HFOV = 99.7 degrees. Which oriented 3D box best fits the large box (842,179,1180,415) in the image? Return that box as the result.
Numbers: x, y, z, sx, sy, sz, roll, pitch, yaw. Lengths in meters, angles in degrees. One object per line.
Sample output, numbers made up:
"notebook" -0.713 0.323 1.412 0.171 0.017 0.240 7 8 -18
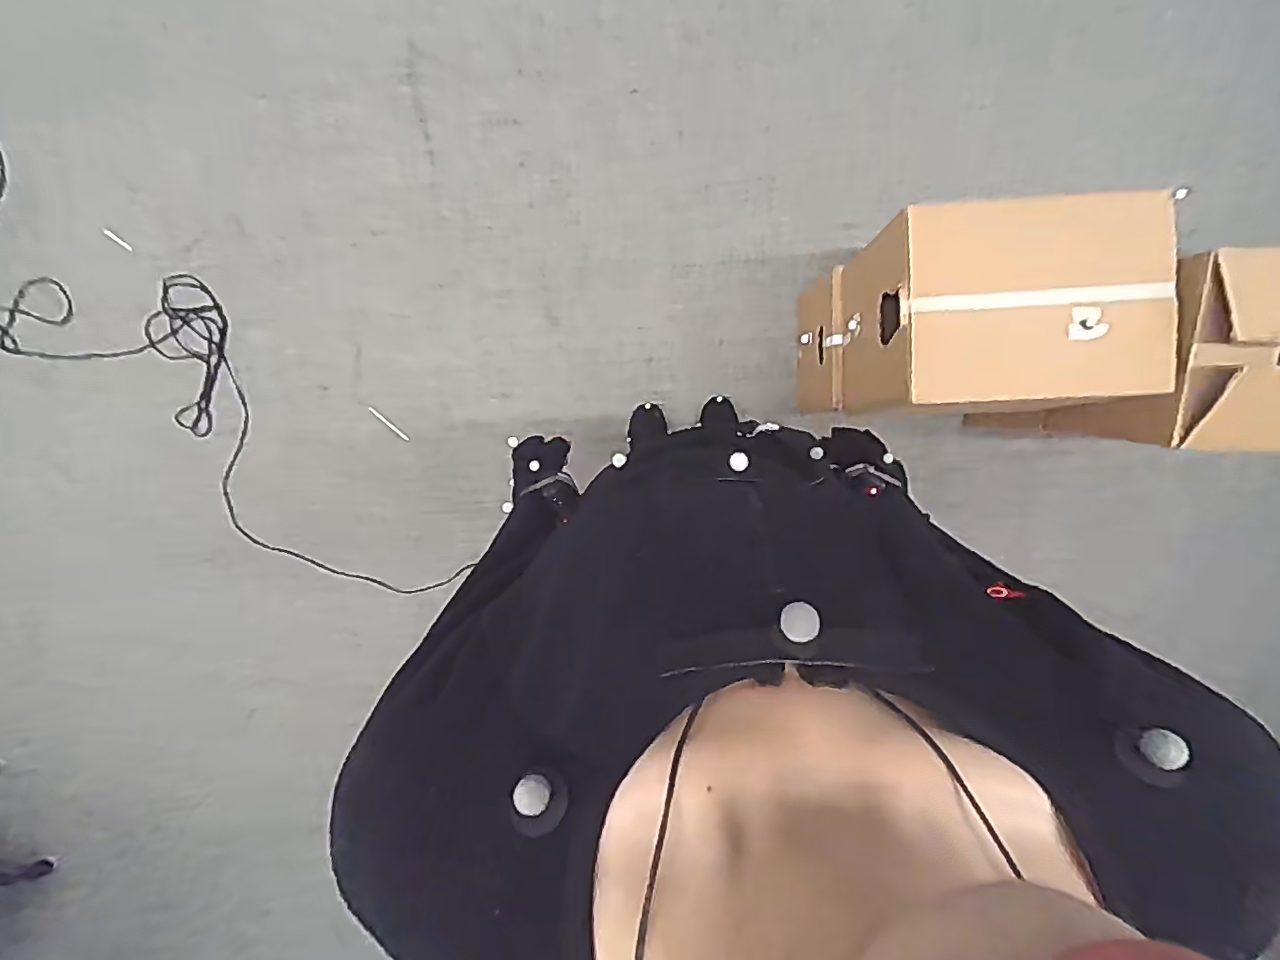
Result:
"large box" 0.619 -0.295 0.975 0.408 0.320 0.320 -3 93 2
